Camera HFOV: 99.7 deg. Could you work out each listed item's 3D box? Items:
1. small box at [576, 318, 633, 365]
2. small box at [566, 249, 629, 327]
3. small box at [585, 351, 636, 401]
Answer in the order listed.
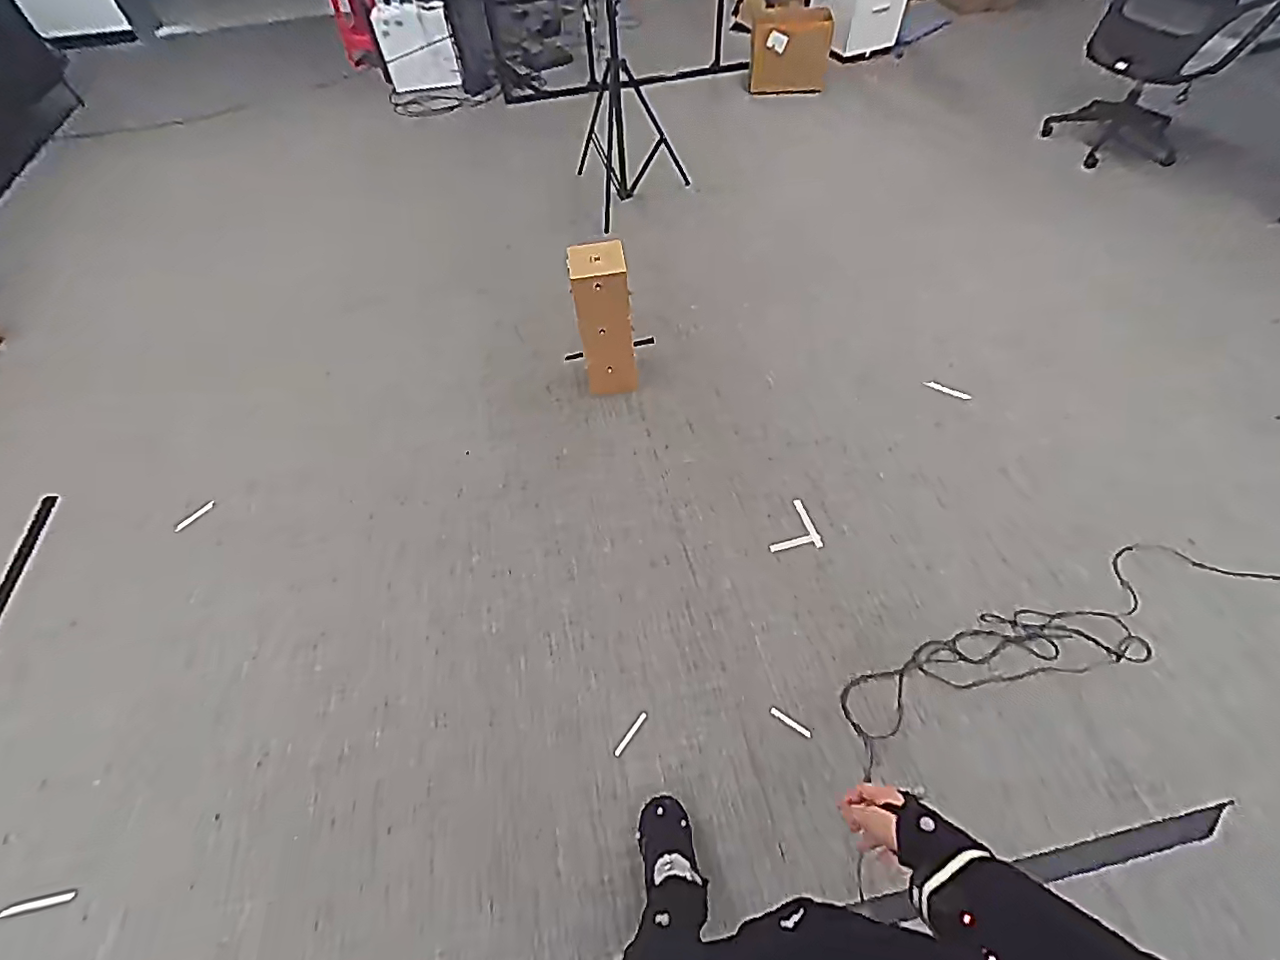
[{"bbox_3d":[-0.122,-0.514,1.862,0.179,0.176,0.168,-6,56,0],"label":"small box"},{"bbox_3d":[-0.133,-0.611,1.733,0.179,0.176,0.168,-8,56,-2],"label":"small box"},{"bbox_3d":[-0.111,-0.414,1.993,0.179,0.176,0.168,-8,55,-2],"label":"small box"}]
